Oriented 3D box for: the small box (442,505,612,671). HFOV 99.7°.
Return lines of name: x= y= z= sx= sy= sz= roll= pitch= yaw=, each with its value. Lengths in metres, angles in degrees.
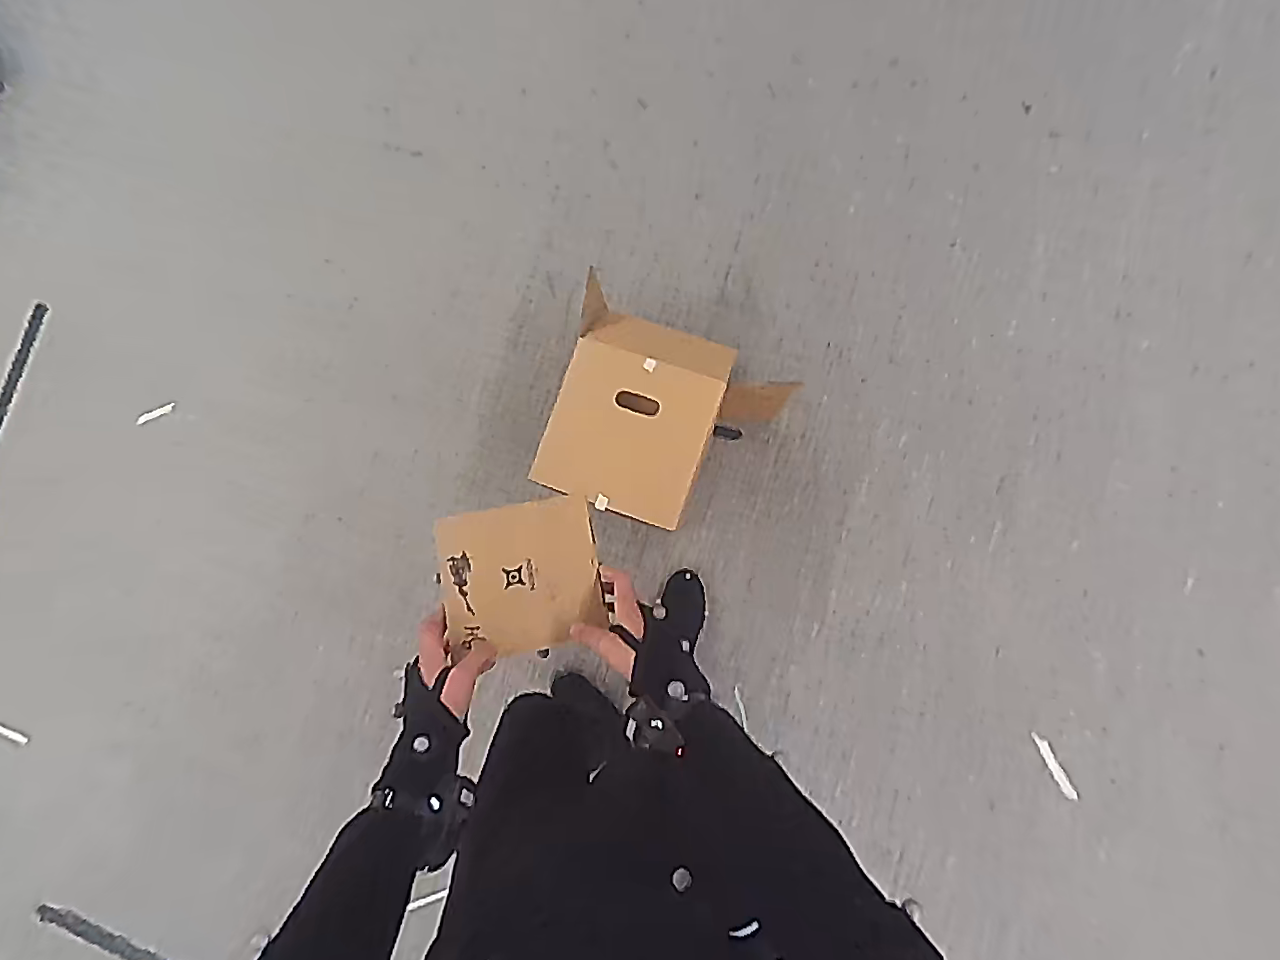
small box: x=-0.139 y=0.136 z=0.693 sx=0.179 sy=0.176 sz=0.168 roll=-9 pitch=78 yaw=-8
